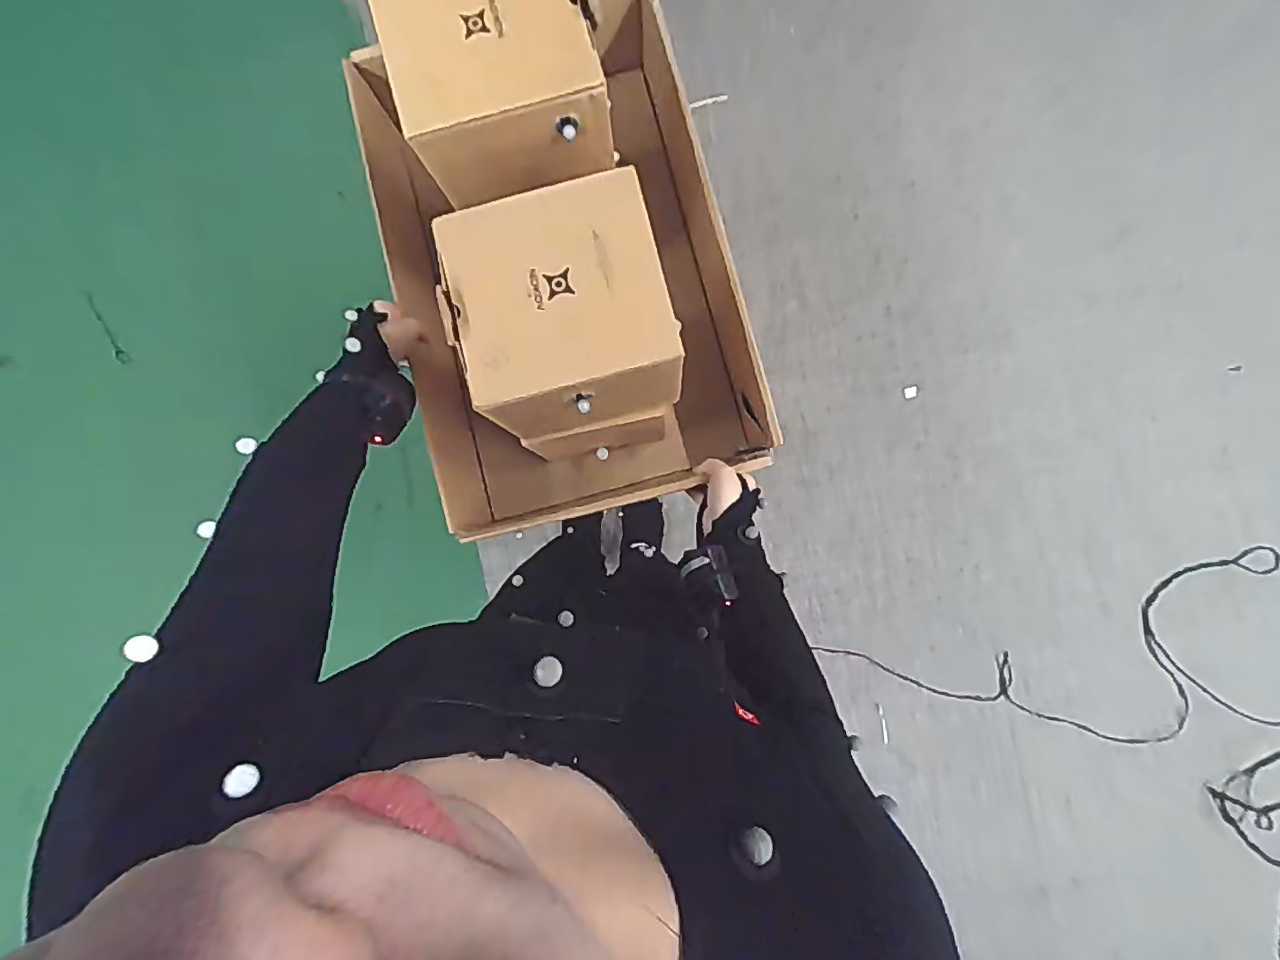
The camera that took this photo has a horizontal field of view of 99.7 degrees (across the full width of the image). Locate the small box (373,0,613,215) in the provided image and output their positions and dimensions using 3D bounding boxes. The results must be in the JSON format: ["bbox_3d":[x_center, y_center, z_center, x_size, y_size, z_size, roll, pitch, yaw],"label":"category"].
[{"bbox_3d":[-0.129,-0.376,0.537,0.179,0.176,0.168,-16,86,0],"label":"small box"}]

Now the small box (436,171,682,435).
[{"bbox_3d":[-0.064,-0.149,0.518,0.179,0.176,0.168,-15,86,1],"label":"small box"}]
